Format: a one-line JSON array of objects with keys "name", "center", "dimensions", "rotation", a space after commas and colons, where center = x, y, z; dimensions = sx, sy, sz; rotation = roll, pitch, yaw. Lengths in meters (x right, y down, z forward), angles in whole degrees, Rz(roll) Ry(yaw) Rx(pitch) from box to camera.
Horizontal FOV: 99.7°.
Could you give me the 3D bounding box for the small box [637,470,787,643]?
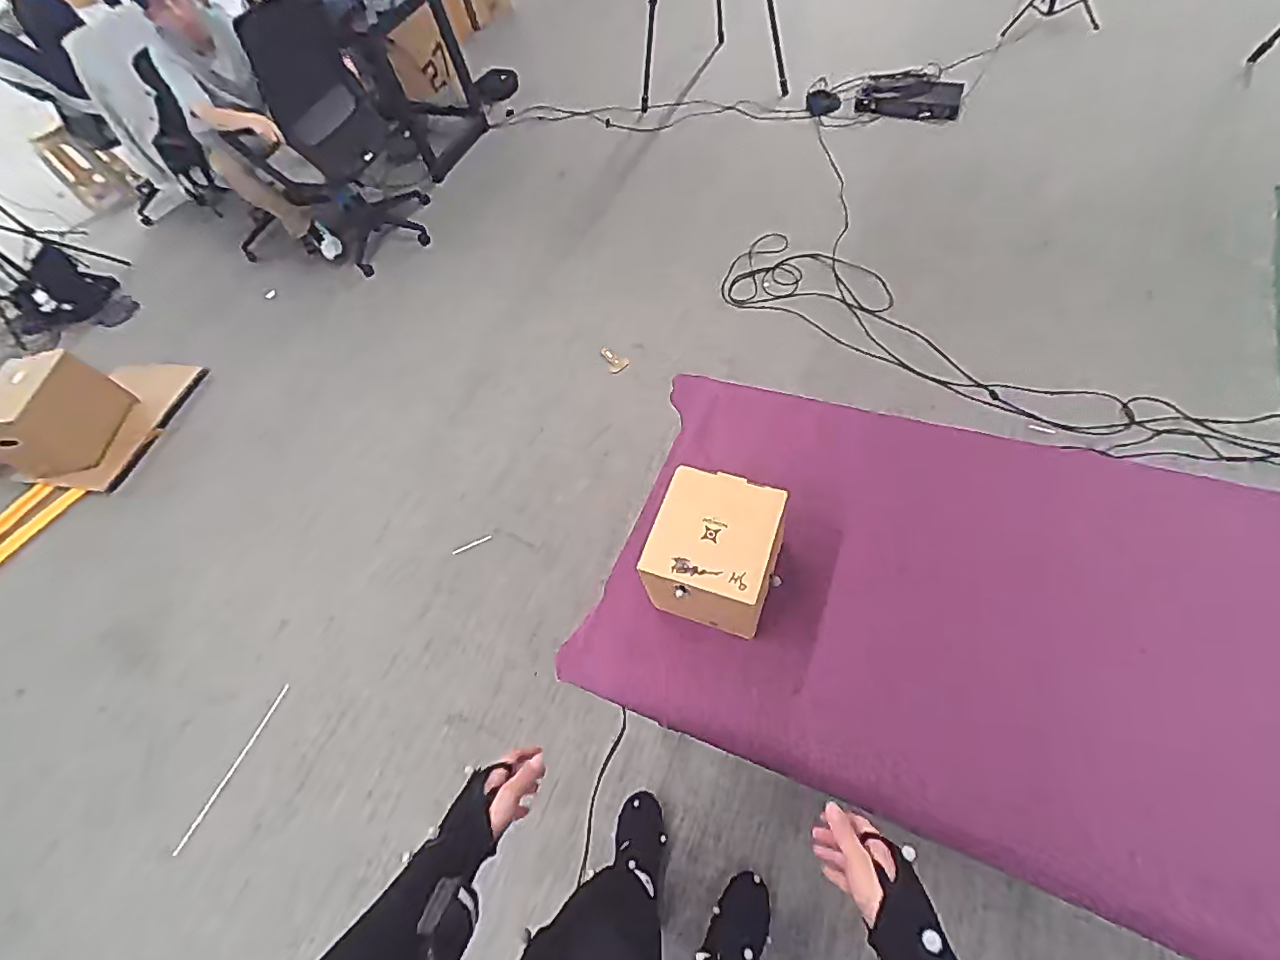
[{"name": "small box", "center": [0.112, 0.116, 0.807], "dimensions": [0.168, 0.176, 0.179], "rotation": [14, 62, 20]}]
